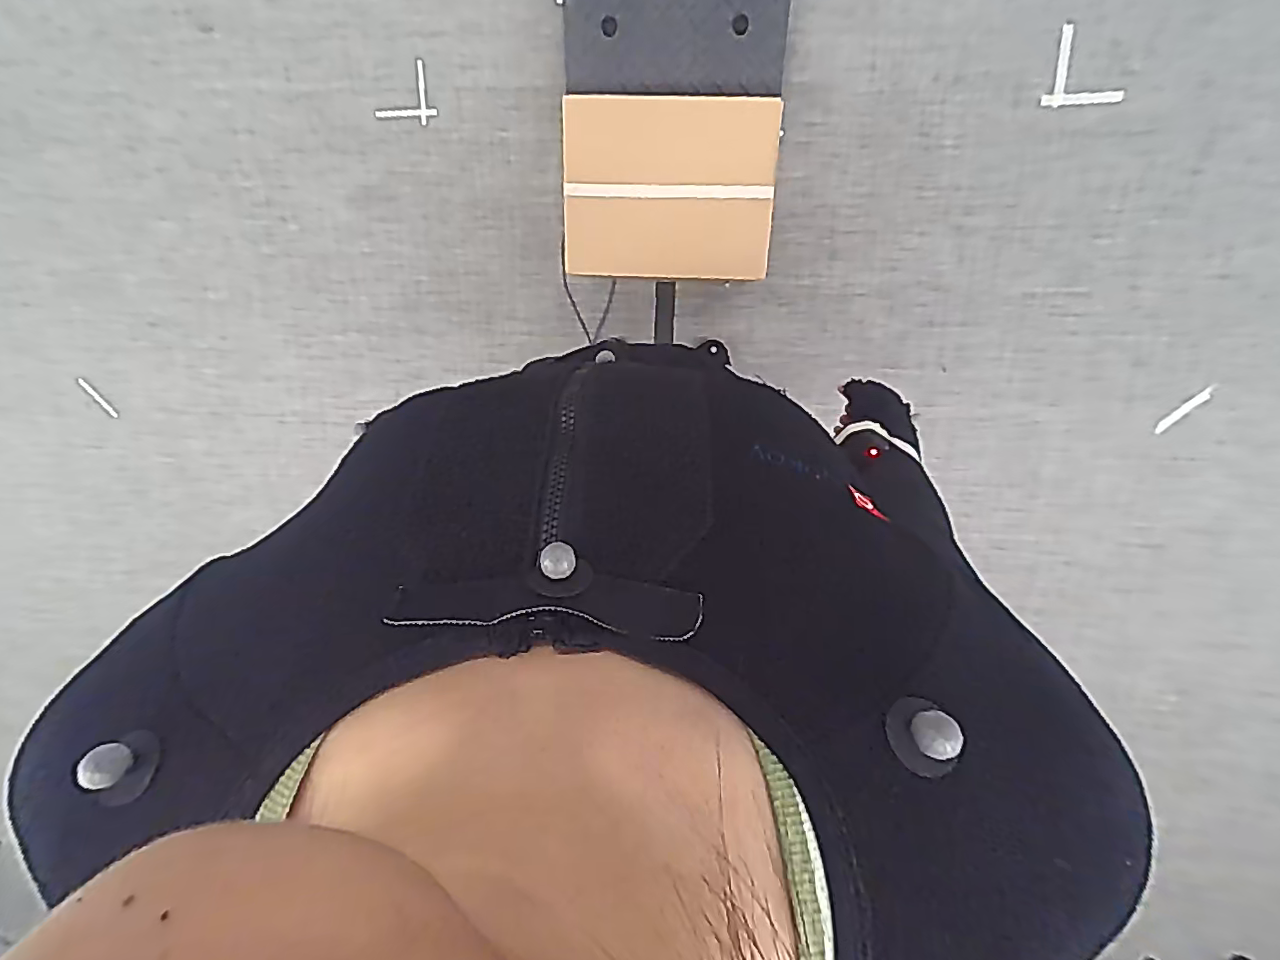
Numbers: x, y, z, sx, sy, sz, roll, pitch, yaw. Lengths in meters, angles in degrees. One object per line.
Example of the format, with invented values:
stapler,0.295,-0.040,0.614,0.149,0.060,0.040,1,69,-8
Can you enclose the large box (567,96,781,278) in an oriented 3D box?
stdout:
large box,0.072,-0.609,1.185,0.408,0.320,0.320,3,108,3

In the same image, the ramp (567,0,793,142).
ramp,0.086,-1.193,1.096,0.509,0.206,0.991,0,105,3
